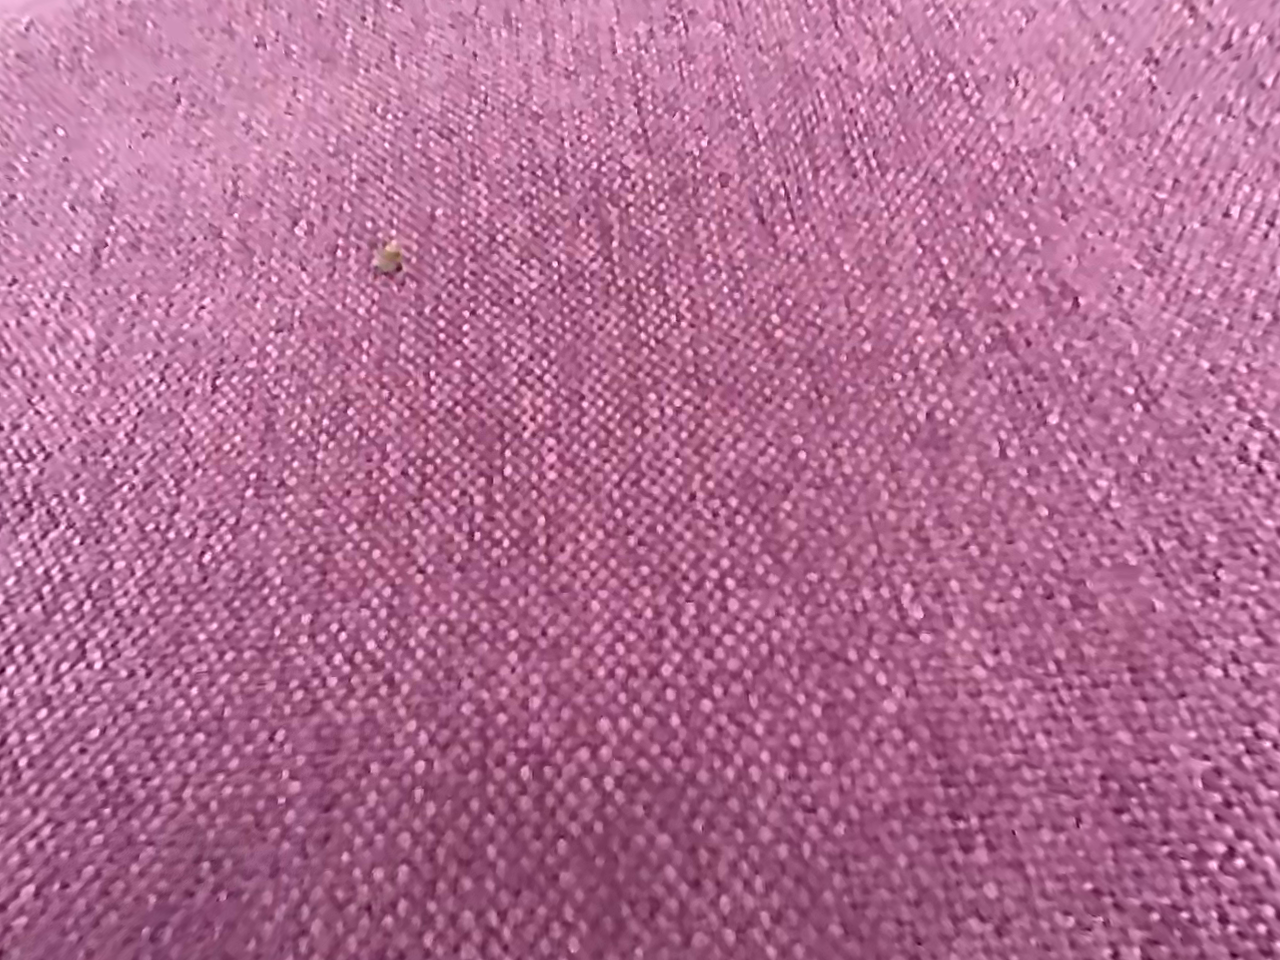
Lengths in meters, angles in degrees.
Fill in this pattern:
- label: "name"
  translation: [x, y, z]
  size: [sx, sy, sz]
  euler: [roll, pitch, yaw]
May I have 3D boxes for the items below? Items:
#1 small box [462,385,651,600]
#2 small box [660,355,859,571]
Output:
- label: "small box"
  translation: [-0.085, 0.023, 0.607]
  size: [0.168, 0.176, 0.179]
  euler: [-13, 70, -1]
- label: "small box"
  translation: [0.122, -0.011, 0.622]
  size: [0.168, 0.176, 0.179]
  euler: [-13, 68, 1]
